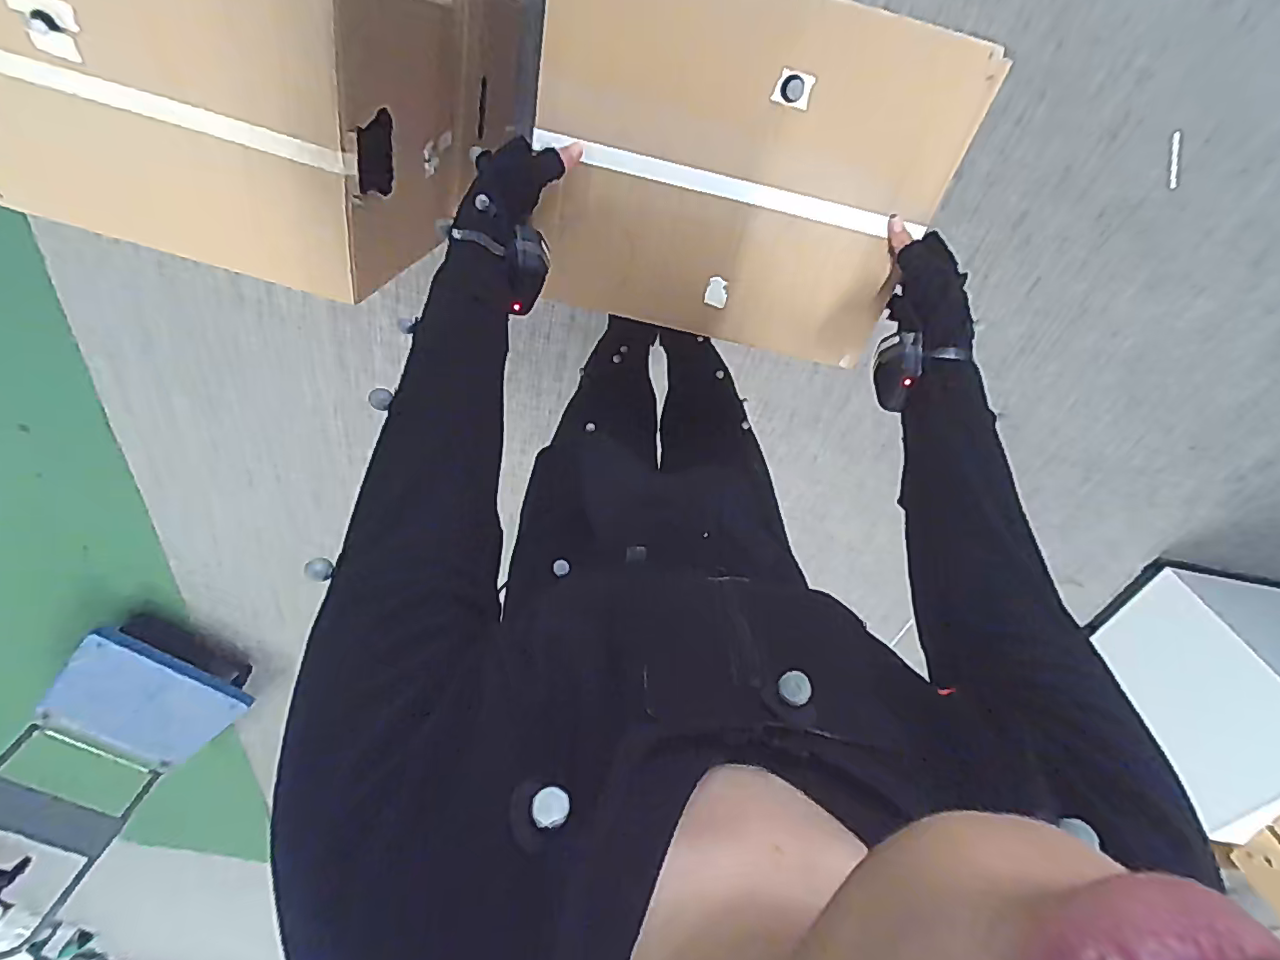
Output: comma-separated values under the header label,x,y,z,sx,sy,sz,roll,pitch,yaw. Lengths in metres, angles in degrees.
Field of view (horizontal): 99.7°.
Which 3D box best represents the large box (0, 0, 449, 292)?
label,x,y,z,sx,sy,sz,roll,pitch,yaw
large box,-0.483,-0.480,0.659,0.408,0.320,0.320,15,128,-5
